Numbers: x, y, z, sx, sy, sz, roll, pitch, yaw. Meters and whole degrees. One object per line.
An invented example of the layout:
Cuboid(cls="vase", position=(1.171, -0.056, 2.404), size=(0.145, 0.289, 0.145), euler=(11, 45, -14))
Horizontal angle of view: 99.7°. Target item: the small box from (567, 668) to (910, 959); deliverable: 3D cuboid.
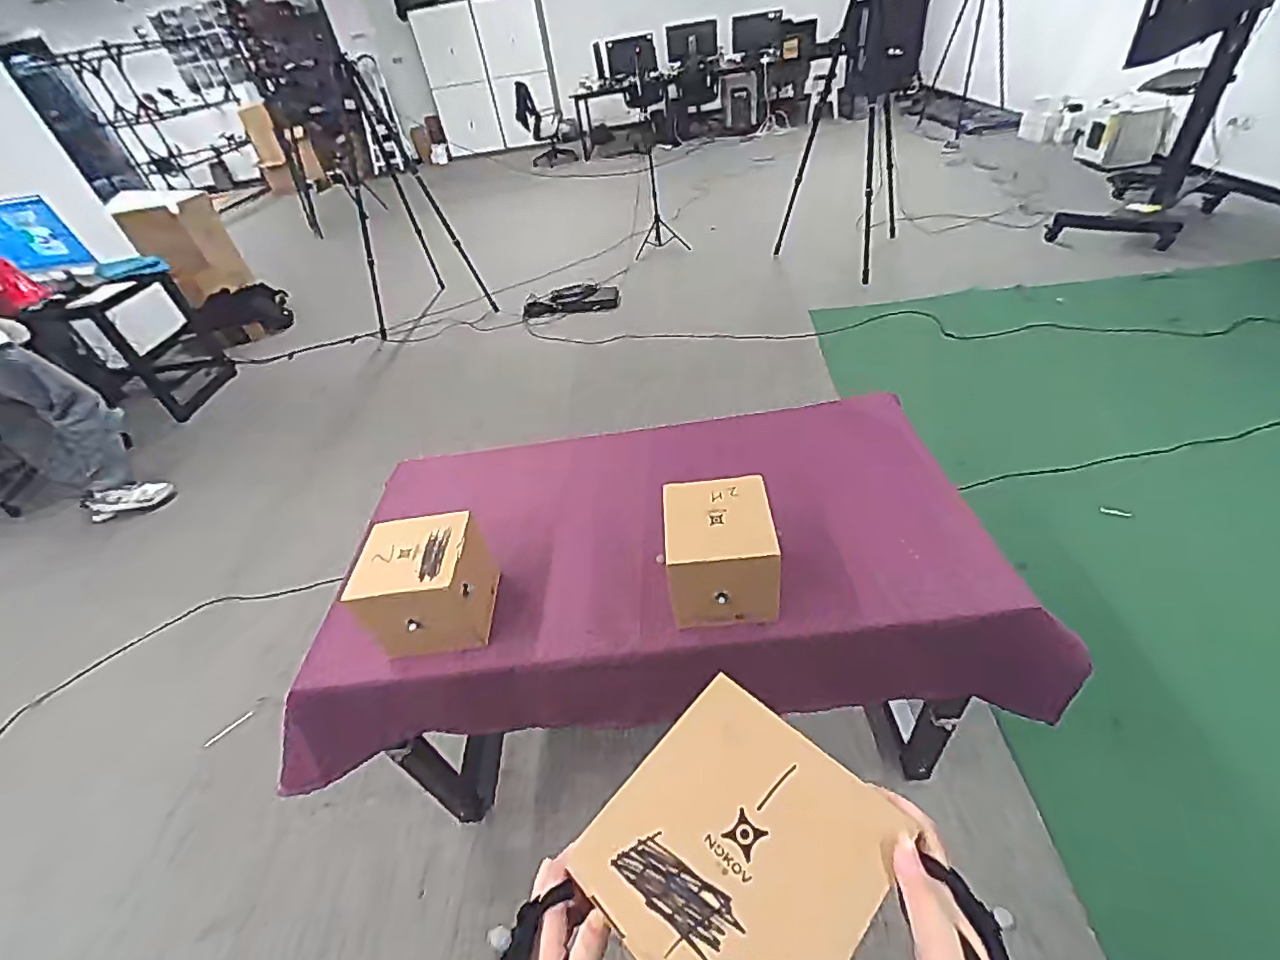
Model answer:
Cuboid(cls="small box", position=(0.077, 0.293, 0.417), size=(0.179, 0.176, 0.168), euler=(-40, 50, -24))

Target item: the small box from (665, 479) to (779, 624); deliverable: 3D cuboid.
Cuboid(cls="small box", position=(0.132, 0.123, 0.888), size=(0.168, 0.176, 0.179), euler=(-5, 41, 6))
